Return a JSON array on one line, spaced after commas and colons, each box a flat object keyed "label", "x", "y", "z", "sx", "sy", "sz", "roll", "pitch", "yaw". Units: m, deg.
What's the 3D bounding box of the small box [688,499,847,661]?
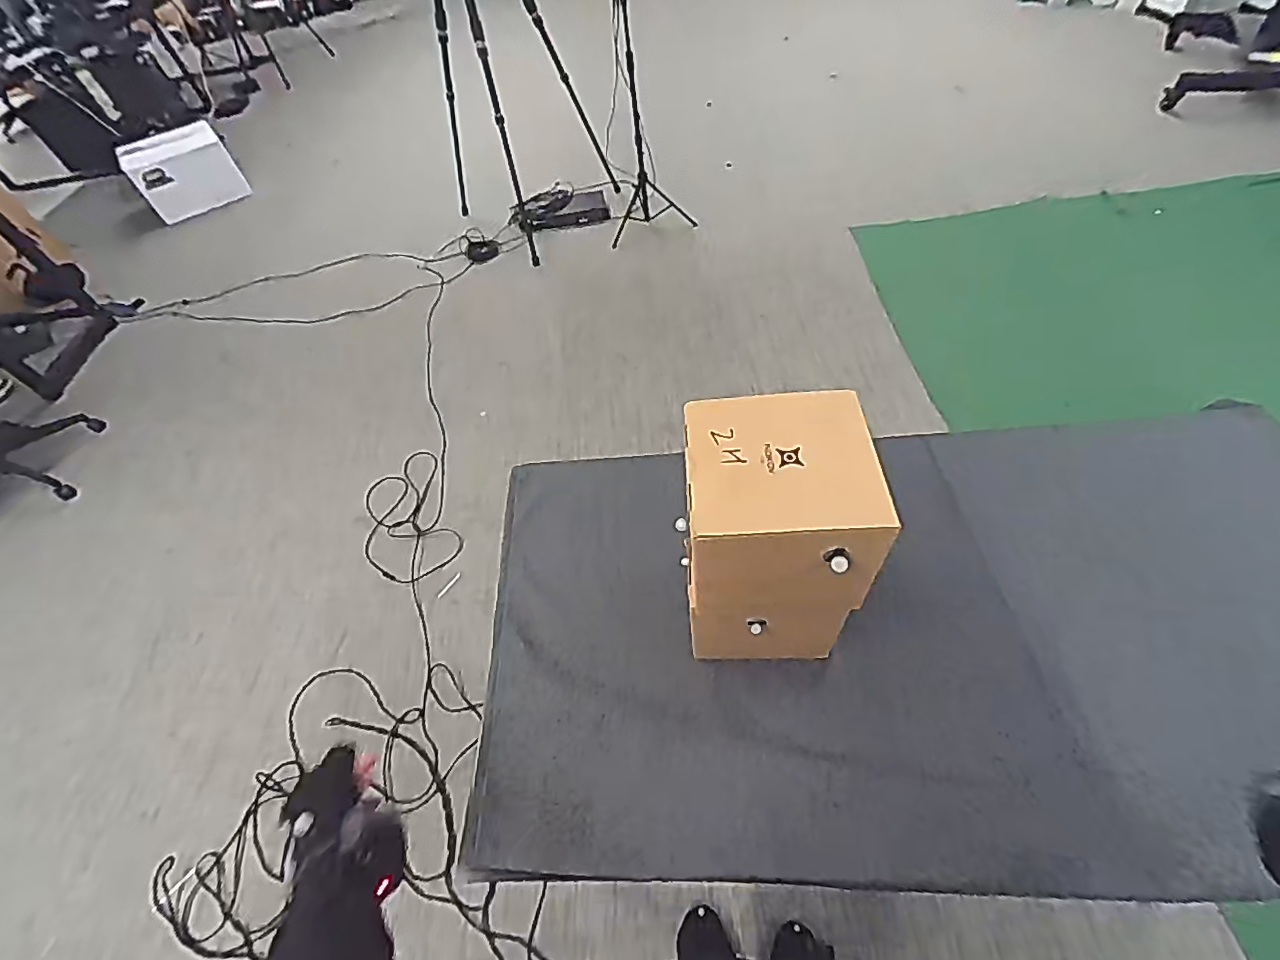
[{"label": "small box", "x": 0.155, "y": 0.131, "z": 0.713, "sx": 0.179, "sy": 0.176, "sz": 0.168, "roll": -1, "pitch": 52, "yaw": 5}]

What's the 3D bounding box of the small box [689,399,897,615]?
[{"label": "small box", "x": 0.144, "y": 0.034, "z": 0.579, "sx": 0.179, "sy": 0.176, "sz": 0.168, "roll": -3, "pitch": 51, "yaw": 5}]
